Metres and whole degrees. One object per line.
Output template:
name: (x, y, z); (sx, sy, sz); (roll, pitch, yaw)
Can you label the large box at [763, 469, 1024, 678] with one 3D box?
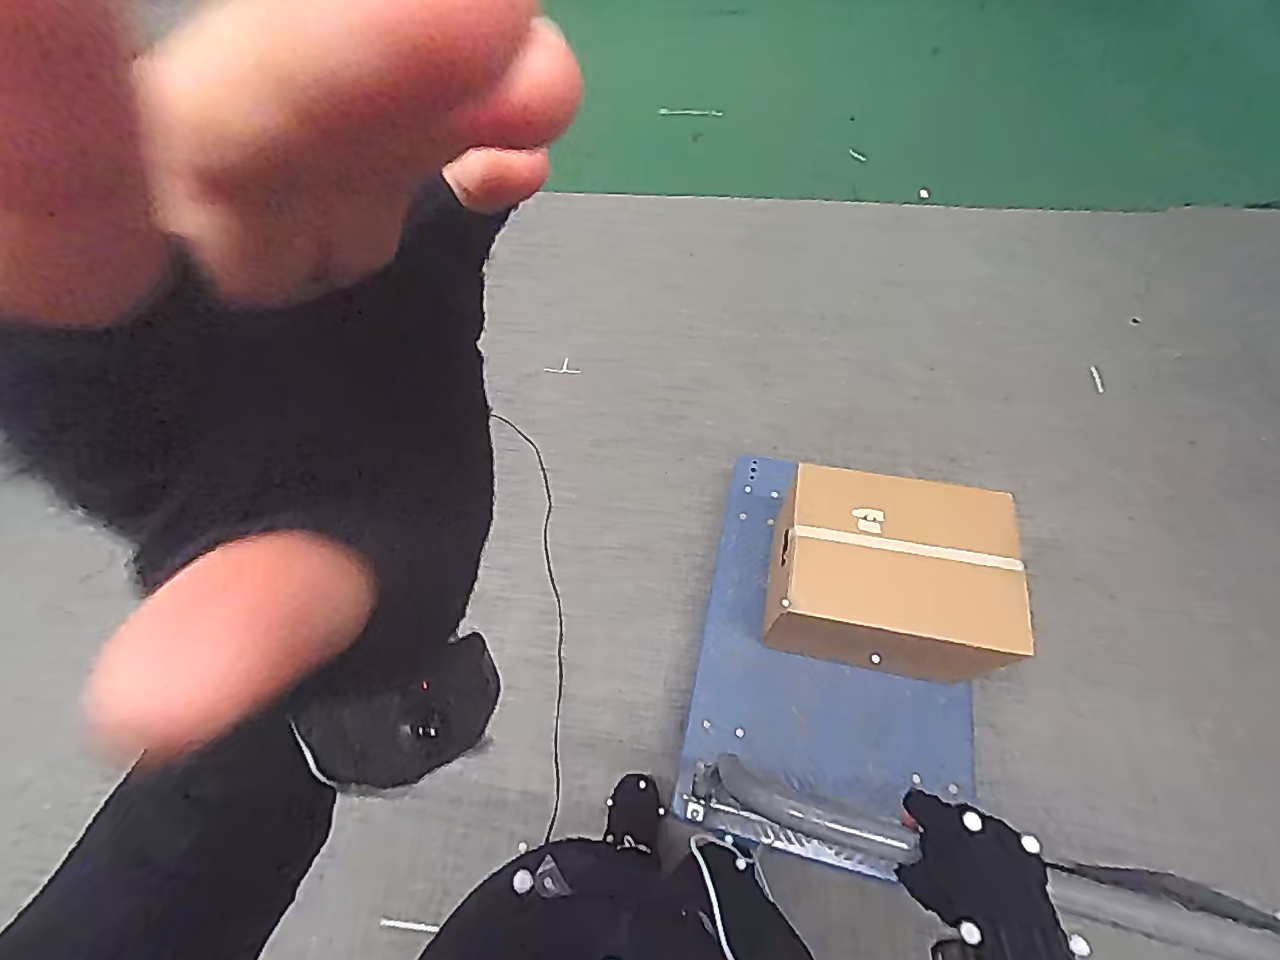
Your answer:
large box: (0.493, 0.205, 1.137); (0.408, 0.320, 0.320); (8, 61, 9)
